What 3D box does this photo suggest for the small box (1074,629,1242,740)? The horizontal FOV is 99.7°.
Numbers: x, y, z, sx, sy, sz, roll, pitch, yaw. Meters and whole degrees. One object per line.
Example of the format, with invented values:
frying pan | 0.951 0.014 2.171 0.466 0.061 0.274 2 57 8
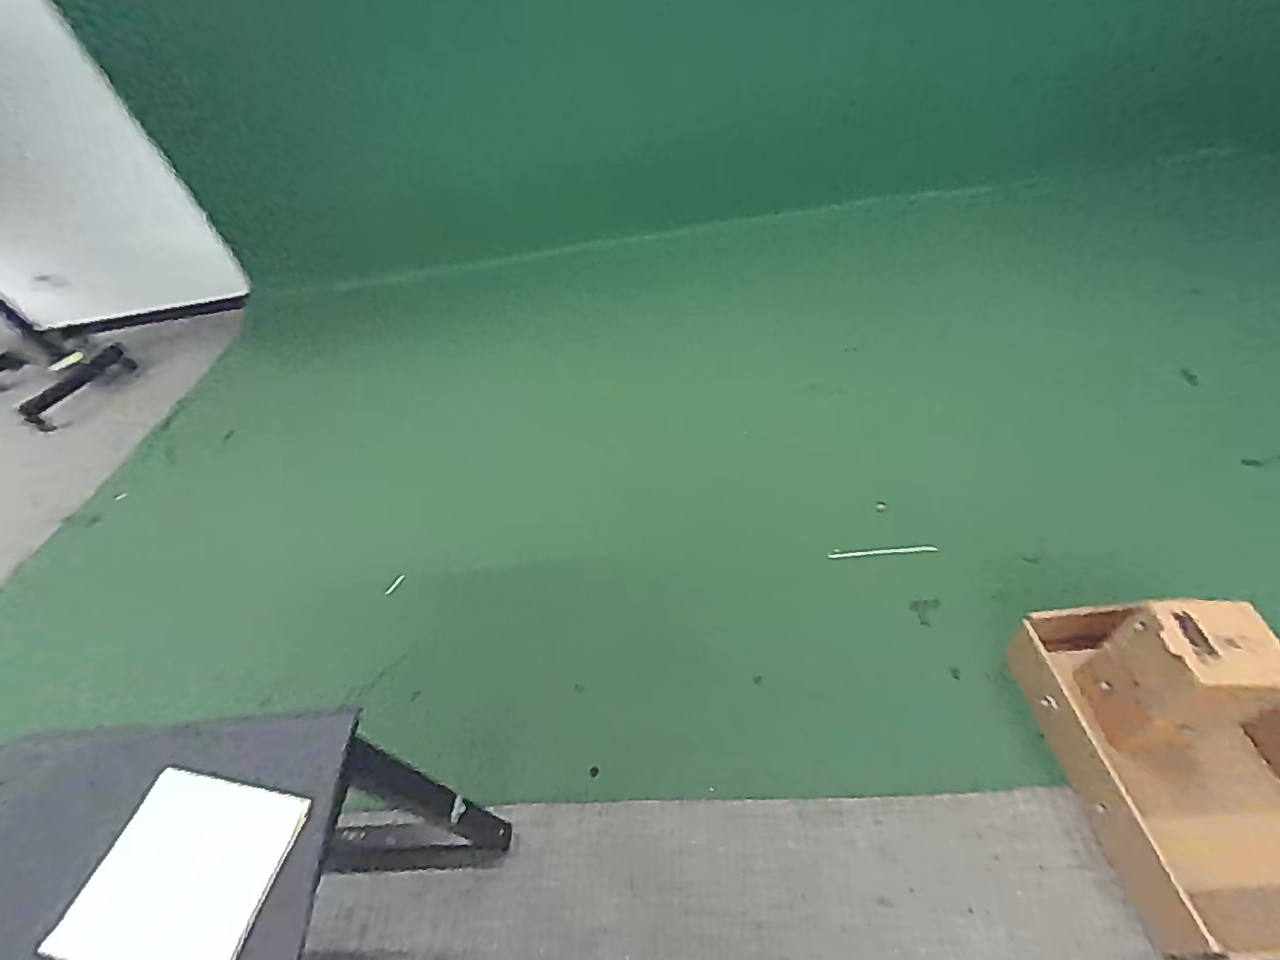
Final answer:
small box | 1.105 0.447 1.177 0.168 0.176 0.179 -6 48 5
